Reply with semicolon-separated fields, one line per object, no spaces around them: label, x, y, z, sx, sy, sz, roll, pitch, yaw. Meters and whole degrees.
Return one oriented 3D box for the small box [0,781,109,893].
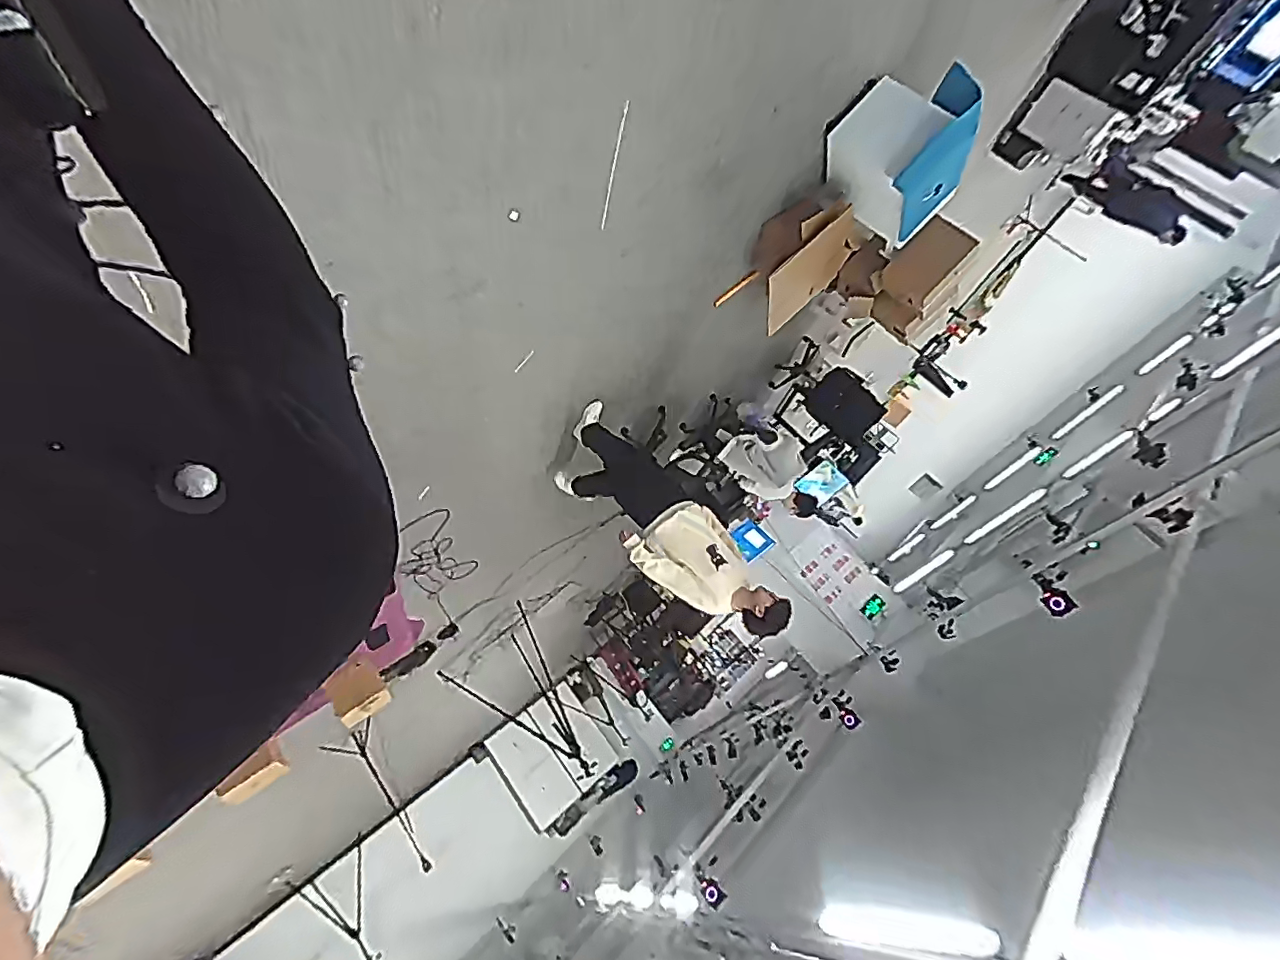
small box;-1.503;0.890;1.356;0.168;0.176;0.179;-32;159;-31

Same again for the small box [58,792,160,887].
small box;-1.584;1.061;1.602;0.168;0.176;0.179;-30;159;-33

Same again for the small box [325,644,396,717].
small box;-1.020;0.726;1.974;0.168;0.176;0.179;-30;159;-31

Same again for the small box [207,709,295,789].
small box;-1.297;0.896;1.807;0.168;0.176;0.179;-31;159;-31
